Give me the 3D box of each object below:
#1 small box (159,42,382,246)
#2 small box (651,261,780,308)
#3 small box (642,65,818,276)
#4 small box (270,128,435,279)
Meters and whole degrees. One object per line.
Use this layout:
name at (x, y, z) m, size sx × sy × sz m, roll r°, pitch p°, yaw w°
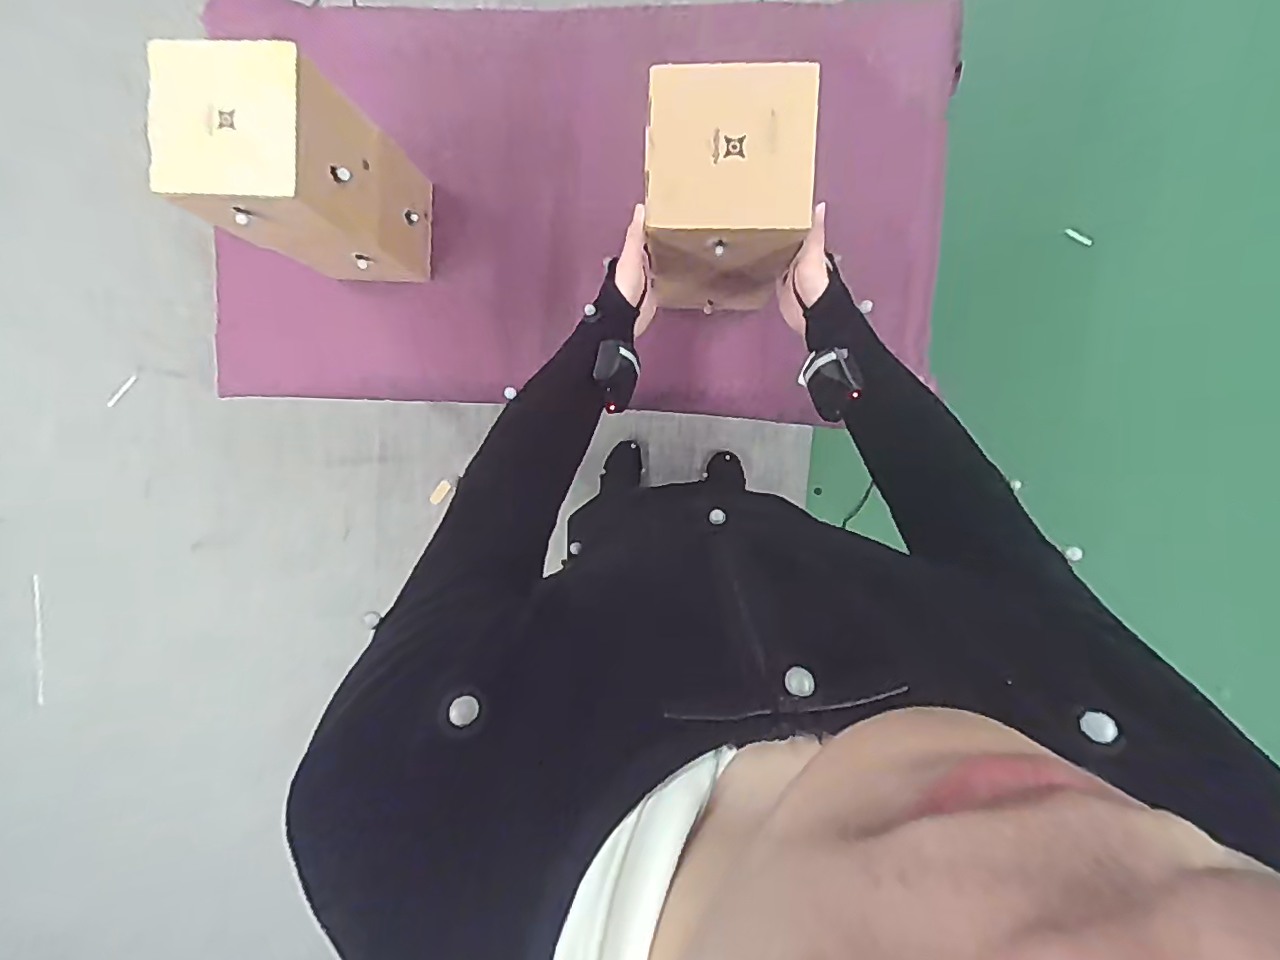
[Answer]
small box at (-0.452, -0.411, 0.688) m, size 0.179 × 0.176 × 0.168 m, roll 4°, pitch 95°, yaw 5°
small box at (0.110, -0.361, 0.808) m, size 0.179 × 0.176 × 0.168 m, roll 2°, pitch 94°, yaw 4°
small box at (0.099, -0.351, 0.643) m, size 0.179 × 0.176 × 0.168 m, roll 3°, pitch 94°, yaw 4°
small box at (-0.440, -0.425, 0.849) m, size 0.179 × 0.176 × 0.168 m, roll 4°, pitch 94°, yaw 4°
